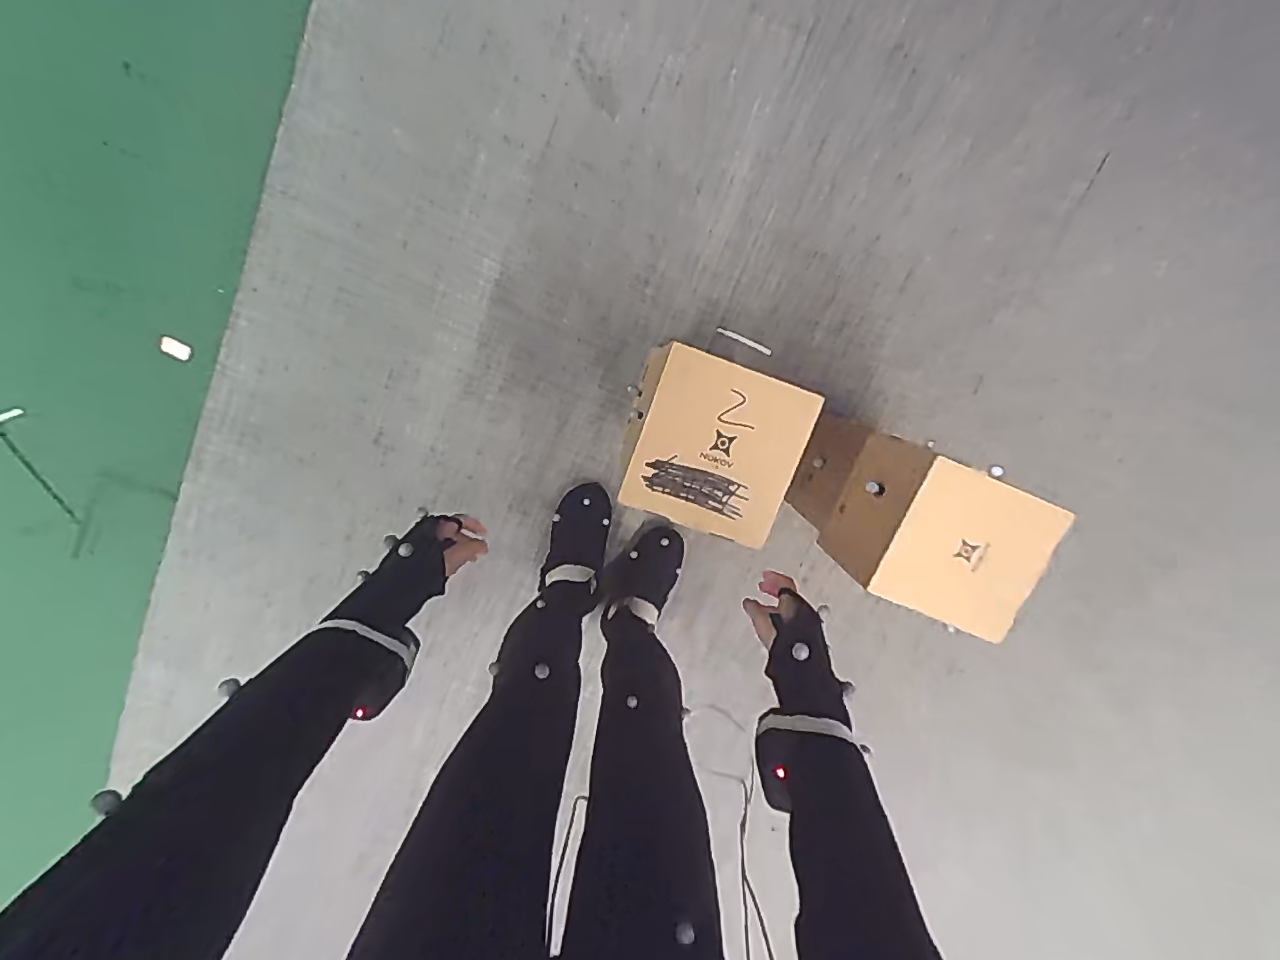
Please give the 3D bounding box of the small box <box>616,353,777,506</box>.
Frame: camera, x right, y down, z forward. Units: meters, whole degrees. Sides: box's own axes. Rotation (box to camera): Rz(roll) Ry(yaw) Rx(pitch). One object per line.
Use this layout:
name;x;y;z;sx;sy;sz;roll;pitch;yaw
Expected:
small box;0.075;-0.082;0.806;0.179;0.176;0.168;20;101;-5

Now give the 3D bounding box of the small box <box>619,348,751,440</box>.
small box;0.072;-0.128;0.963;0.179;0.176;0.168;19;101;-5

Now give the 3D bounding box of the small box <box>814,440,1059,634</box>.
small box;0.347;0.058;0.674;0.179;0.176;0.168;22;100;-7
